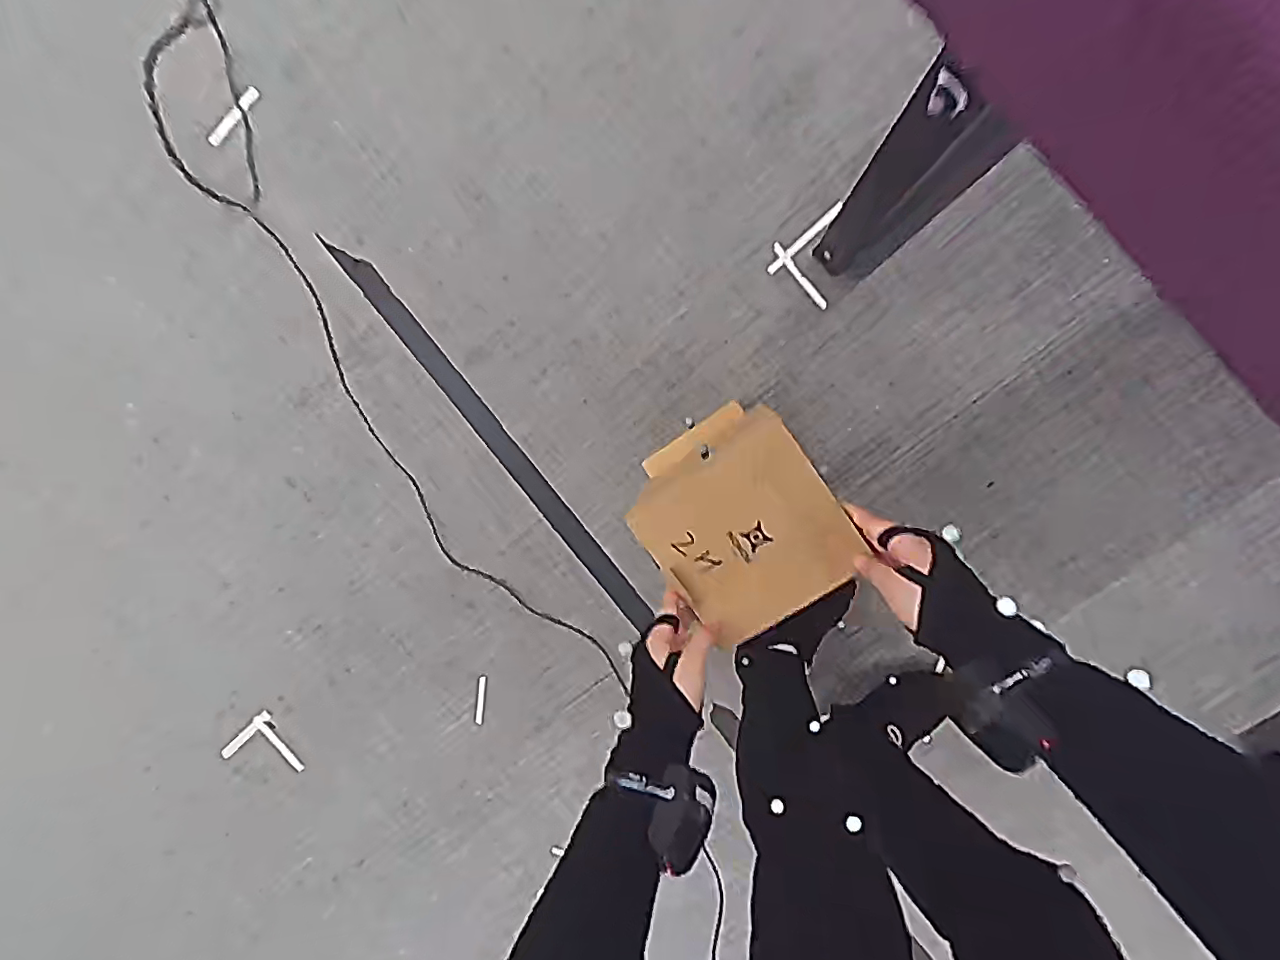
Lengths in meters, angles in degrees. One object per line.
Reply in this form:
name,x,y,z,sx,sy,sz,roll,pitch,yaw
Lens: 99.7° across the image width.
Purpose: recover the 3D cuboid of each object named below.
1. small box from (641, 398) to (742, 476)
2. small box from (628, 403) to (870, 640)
small box,0.128,-0.020,0.899,0.179,0.176,0.168,-34,93,11
small box,0.110,0.031,0.589,0.179,0.176,0.168,-35,97,13
